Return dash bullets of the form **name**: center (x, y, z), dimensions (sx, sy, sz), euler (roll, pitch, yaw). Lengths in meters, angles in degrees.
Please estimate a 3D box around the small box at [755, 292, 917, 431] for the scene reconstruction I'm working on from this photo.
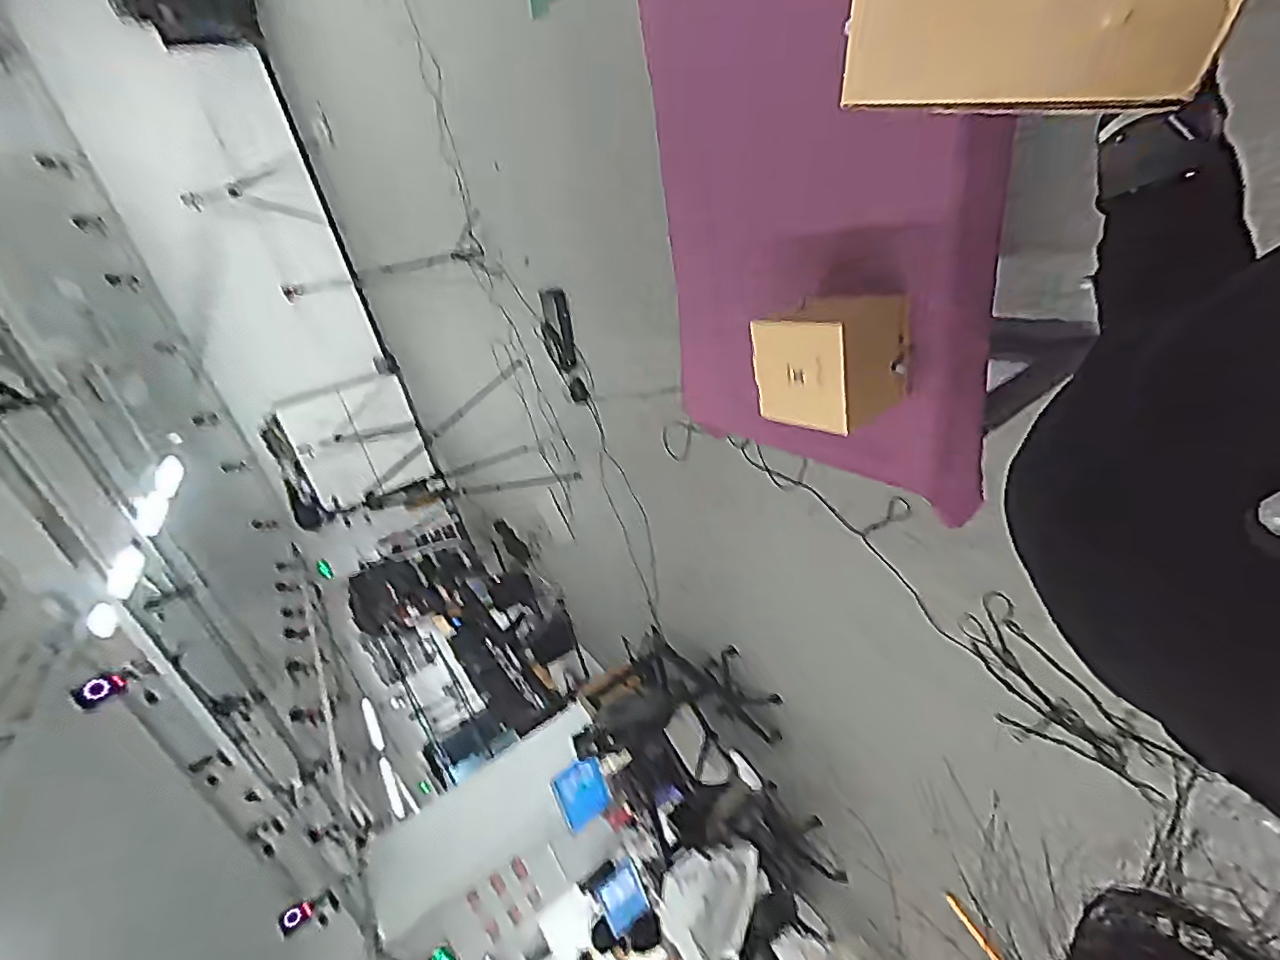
- **small box**: center (0.312, -0.197, 0.868), dimensions (0.179, 0.176, 0.168), euler (24, 134, 52)
